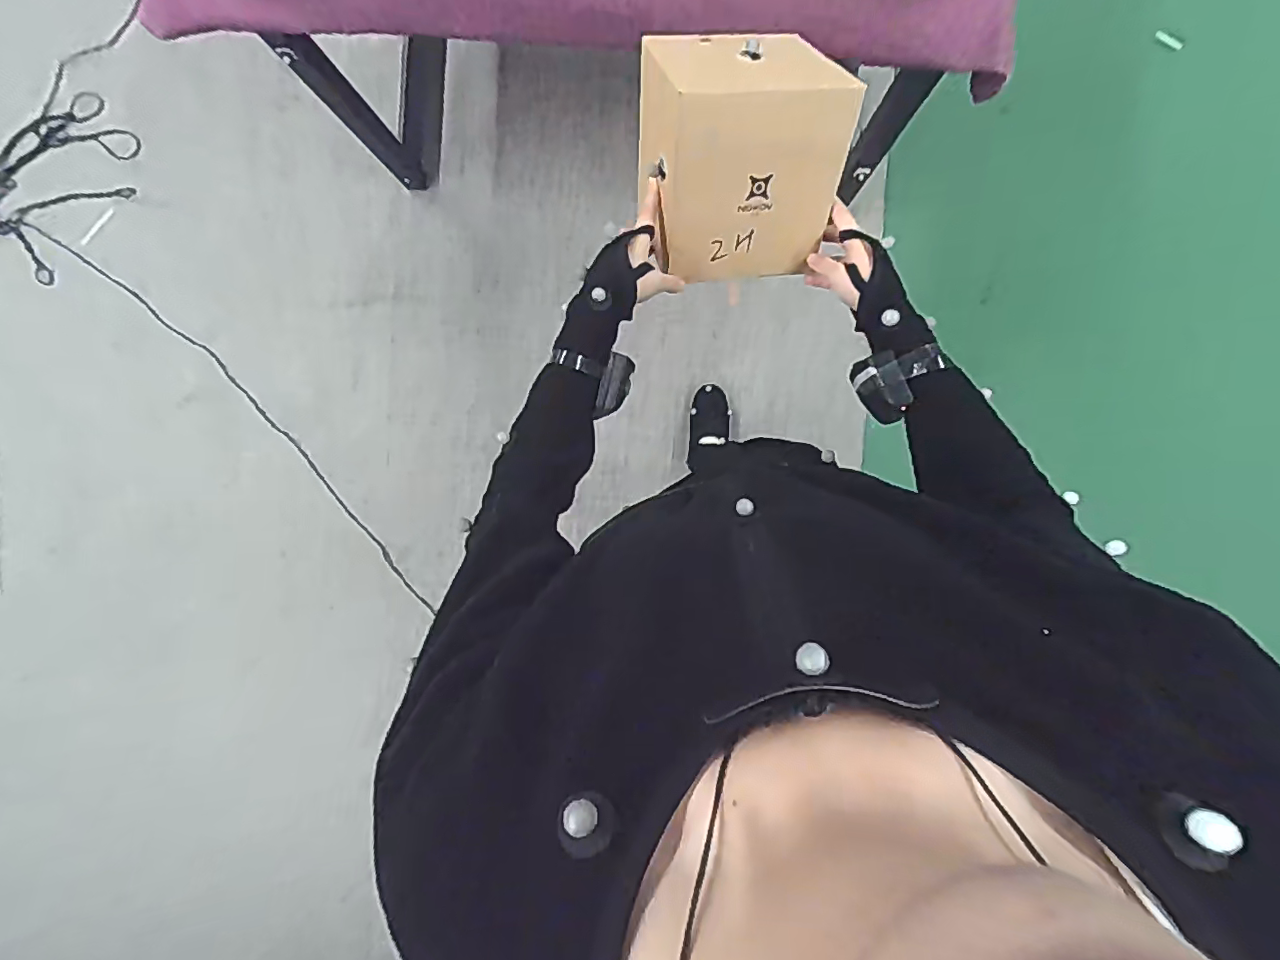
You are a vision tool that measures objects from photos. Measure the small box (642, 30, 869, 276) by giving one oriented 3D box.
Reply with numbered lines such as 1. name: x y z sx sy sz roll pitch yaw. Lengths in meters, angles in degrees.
1. small box: 0.097 -0.338 0.558 0.168 0.179 0.176 -7 52 -8
